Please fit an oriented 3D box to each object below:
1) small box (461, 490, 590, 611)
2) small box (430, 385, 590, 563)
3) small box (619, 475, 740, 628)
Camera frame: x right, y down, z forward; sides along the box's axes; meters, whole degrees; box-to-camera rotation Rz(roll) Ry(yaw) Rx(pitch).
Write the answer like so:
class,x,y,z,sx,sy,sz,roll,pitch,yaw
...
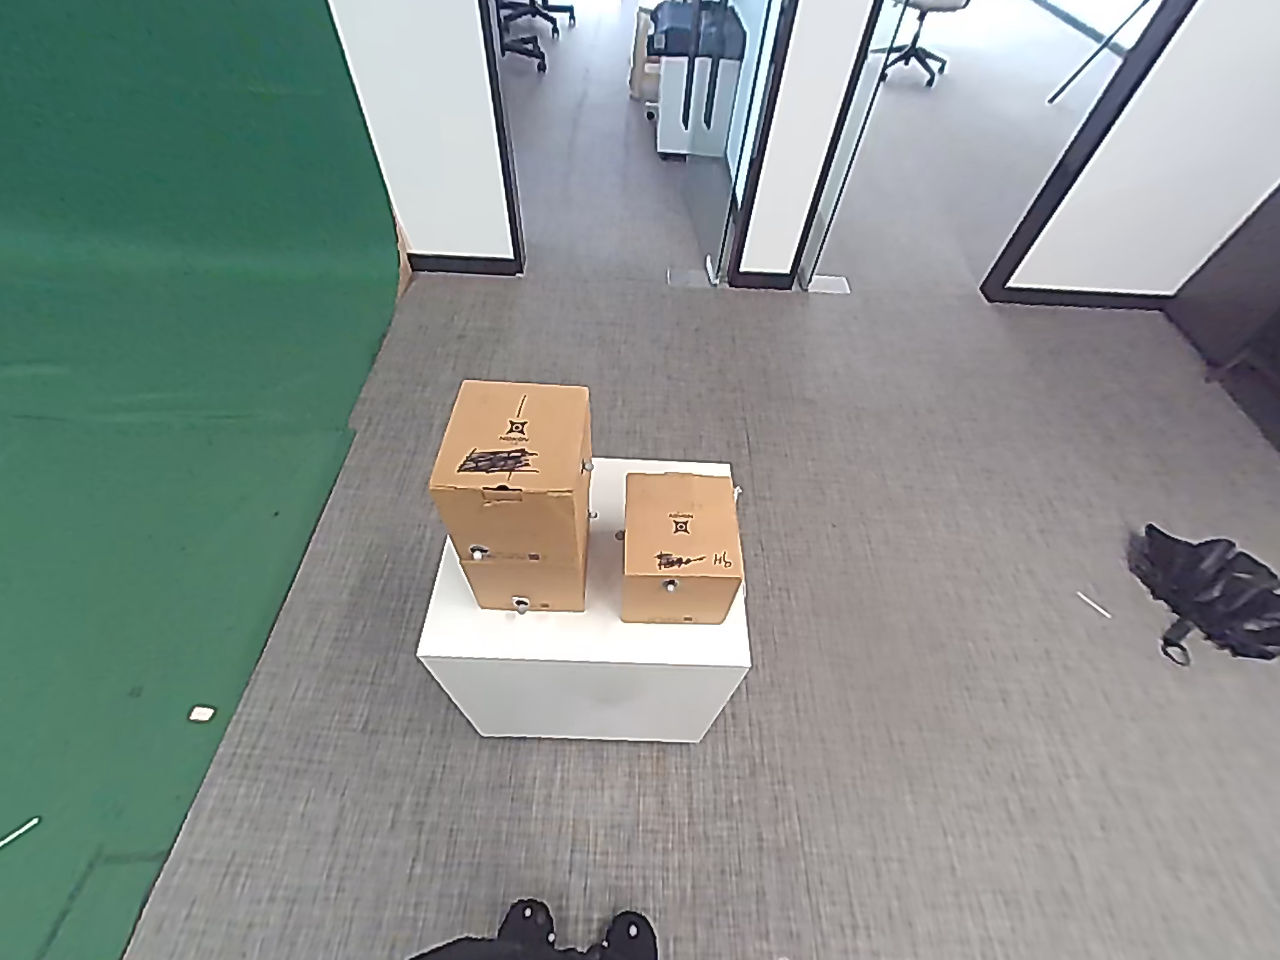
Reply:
class,x,y,z,sx,sy,sz,roll,pitch,yaw
small box,-0.165,0.087,0.842,0.168,0.176,0.179,1,54,-3
small box,-0.157,-0.003,0.725,0.168,0.176,0.179,3,51,-1
small box,0.053,0.114,0.852,0.168,0.176,0.179,3,52,-2
